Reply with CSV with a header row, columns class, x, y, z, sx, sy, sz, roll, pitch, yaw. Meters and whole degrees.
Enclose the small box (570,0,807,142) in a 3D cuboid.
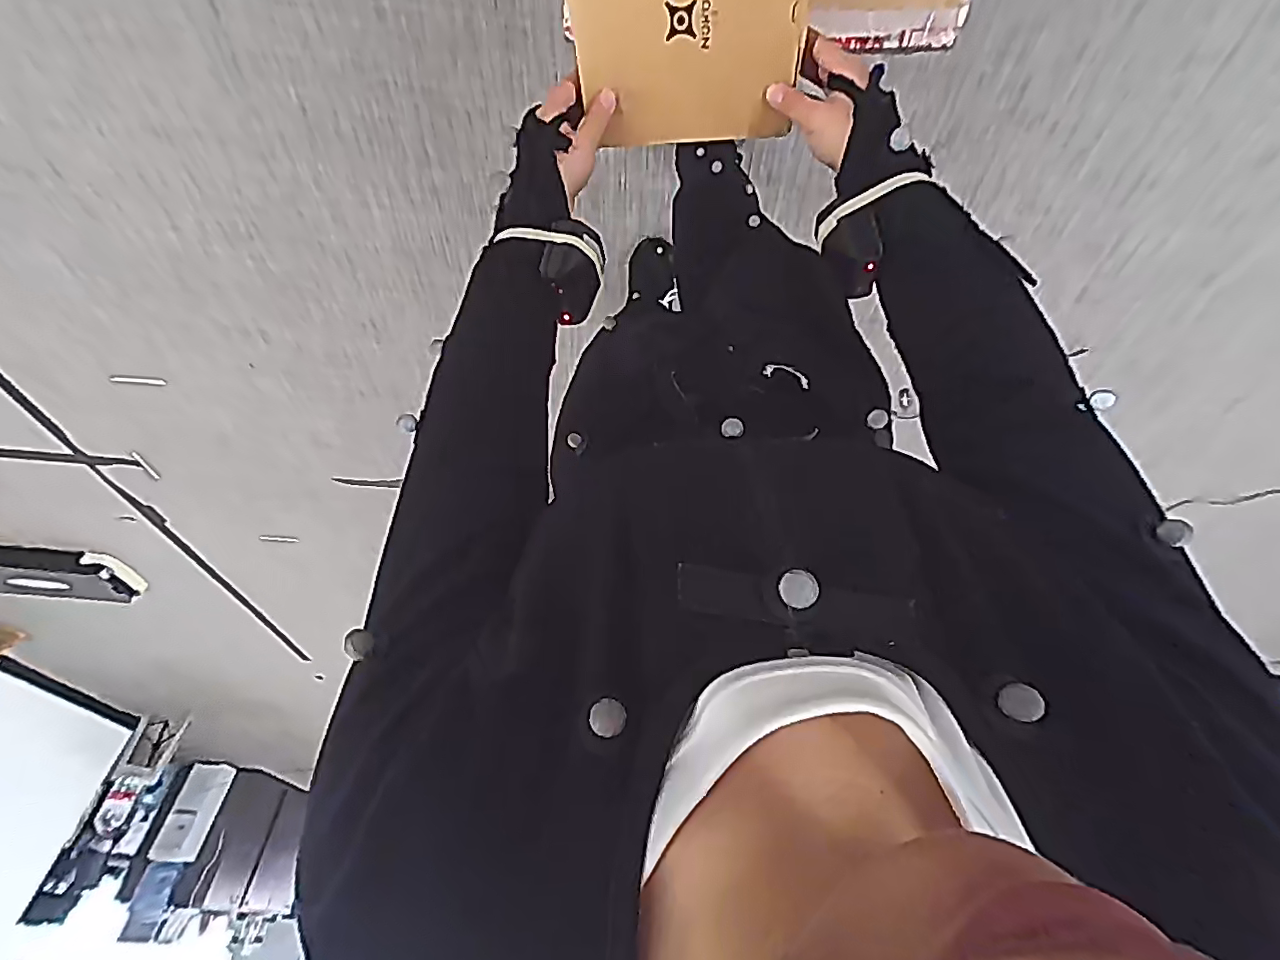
class,x,y,z,sx,sy,sz,roll,pitch,yaw
small box,0.039,-0.407,0.450,0.179,0.176,0.168,-1,142,5
